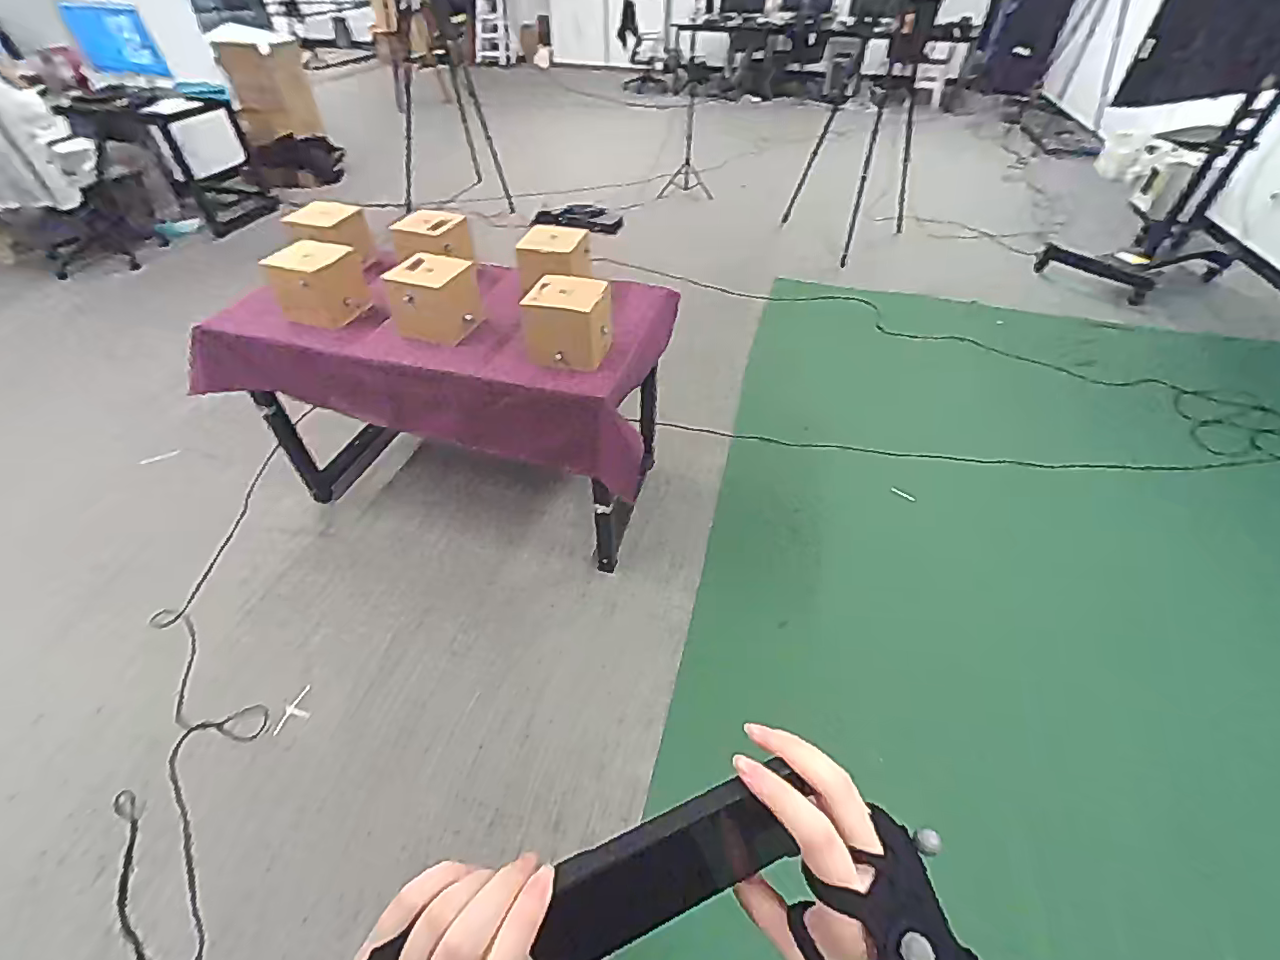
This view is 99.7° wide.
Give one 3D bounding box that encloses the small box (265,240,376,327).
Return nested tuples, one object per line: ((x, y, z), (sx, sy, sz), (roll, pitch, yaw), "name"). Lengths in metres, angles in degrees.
((-0.883, -0.548, 1.511), (0.179, 0.176, 0.168), (14, 46, 11), "small box")

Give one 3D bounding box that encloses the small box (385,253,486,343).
((-0.540, -0.488, 1.453), (0.179, 0.176, 0.168), (15, 47, 13), "small box")

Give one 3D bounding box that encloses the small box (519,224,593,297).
((-0.241, -0.635, 1.603), (0.168, 0.176, 0.179), (10, 46, 10), "small box")

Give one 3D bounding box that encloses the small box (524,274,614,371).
((-0.171, -0.395, 1.365), (0.179, 0.176, 0.168), (11, 45, 10), "small box")
